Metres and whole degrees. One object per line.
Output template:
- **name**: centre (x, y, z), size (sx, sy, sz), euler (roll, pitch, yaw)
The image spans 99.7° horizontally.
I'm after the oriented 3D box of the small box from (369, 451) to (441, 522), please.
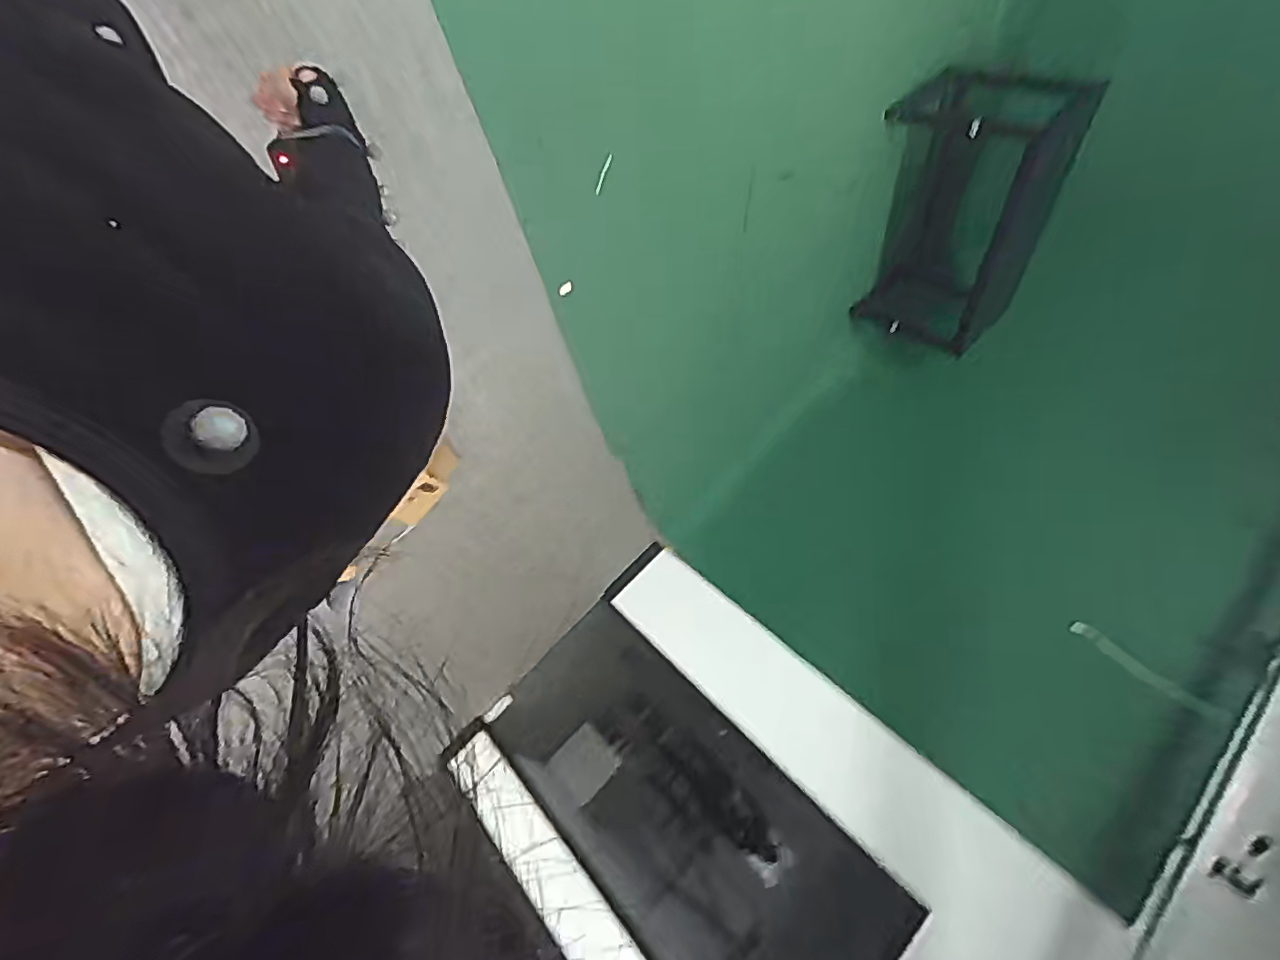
- **small box**: centre (-0.773, -0.004, 1.694), size (0.179, 0.176, 0.168), euler (-48, 149, -4)
